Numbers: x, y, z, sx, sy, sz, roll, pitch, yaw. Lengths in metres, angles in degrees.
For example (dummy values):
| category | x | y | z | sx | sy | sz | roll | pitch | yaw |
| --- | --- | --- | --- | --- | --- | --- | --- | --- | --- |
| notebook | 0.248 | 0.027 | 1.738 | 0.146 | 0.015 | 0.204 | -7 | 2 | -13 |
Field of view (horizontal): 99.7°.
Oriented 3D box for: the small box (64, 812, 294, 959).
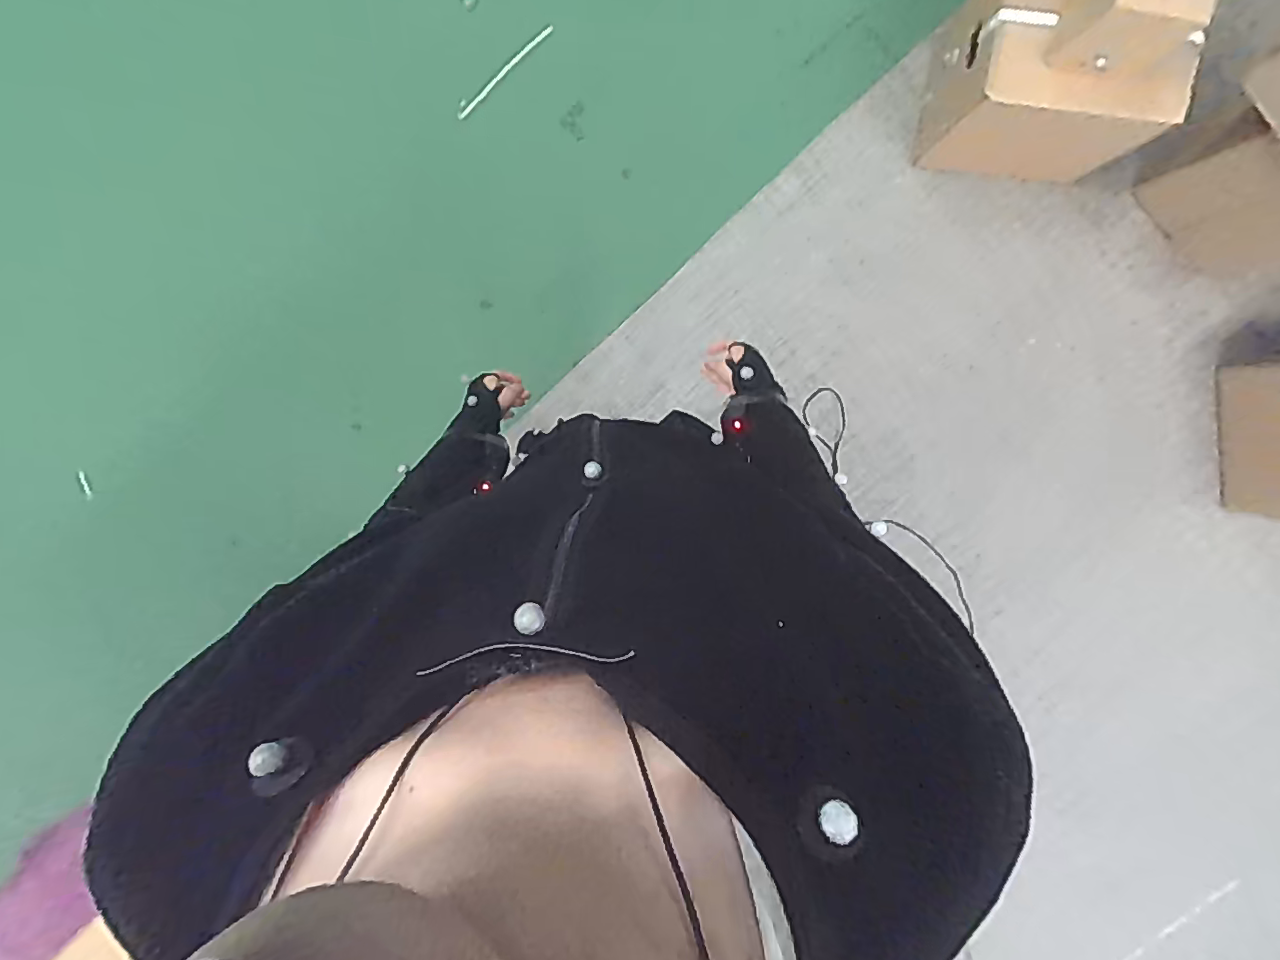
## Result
| category | x | y | z | sx | sy | sz | roll | pitch | yaw |
| --- | --- | --- | --- | --- | --- | --- | --- | --- | --- |
| small box | -0.651 | 0.635 | 0.774 | 0.179 | 0.176 | 0.168 | -44 | 96 | 7 |

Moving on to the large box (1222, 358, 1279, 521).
| category | x | y | z | sx | sy | sz | roll | pitch | yaw |
| --- | --- | --- | --- | --- | --- | --- | --- | --- | --- |
| large box | 1.736 | -0.114 | 1.312 | 0.320 | 0.320 | 0.408 | -13 | 99 | 2 |

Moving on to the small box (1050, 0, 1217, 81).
| category | x | y | z | sx | sy | sz | roll | pitch | yaw |
| --- | --- | --- | --- | --- | --- | --- | --- | --- | --- |
| small box | 0.892 | -0.874 | 0.974 | 0.168 | 0.176 | 0.179 | 10 | 98 | 0 |
